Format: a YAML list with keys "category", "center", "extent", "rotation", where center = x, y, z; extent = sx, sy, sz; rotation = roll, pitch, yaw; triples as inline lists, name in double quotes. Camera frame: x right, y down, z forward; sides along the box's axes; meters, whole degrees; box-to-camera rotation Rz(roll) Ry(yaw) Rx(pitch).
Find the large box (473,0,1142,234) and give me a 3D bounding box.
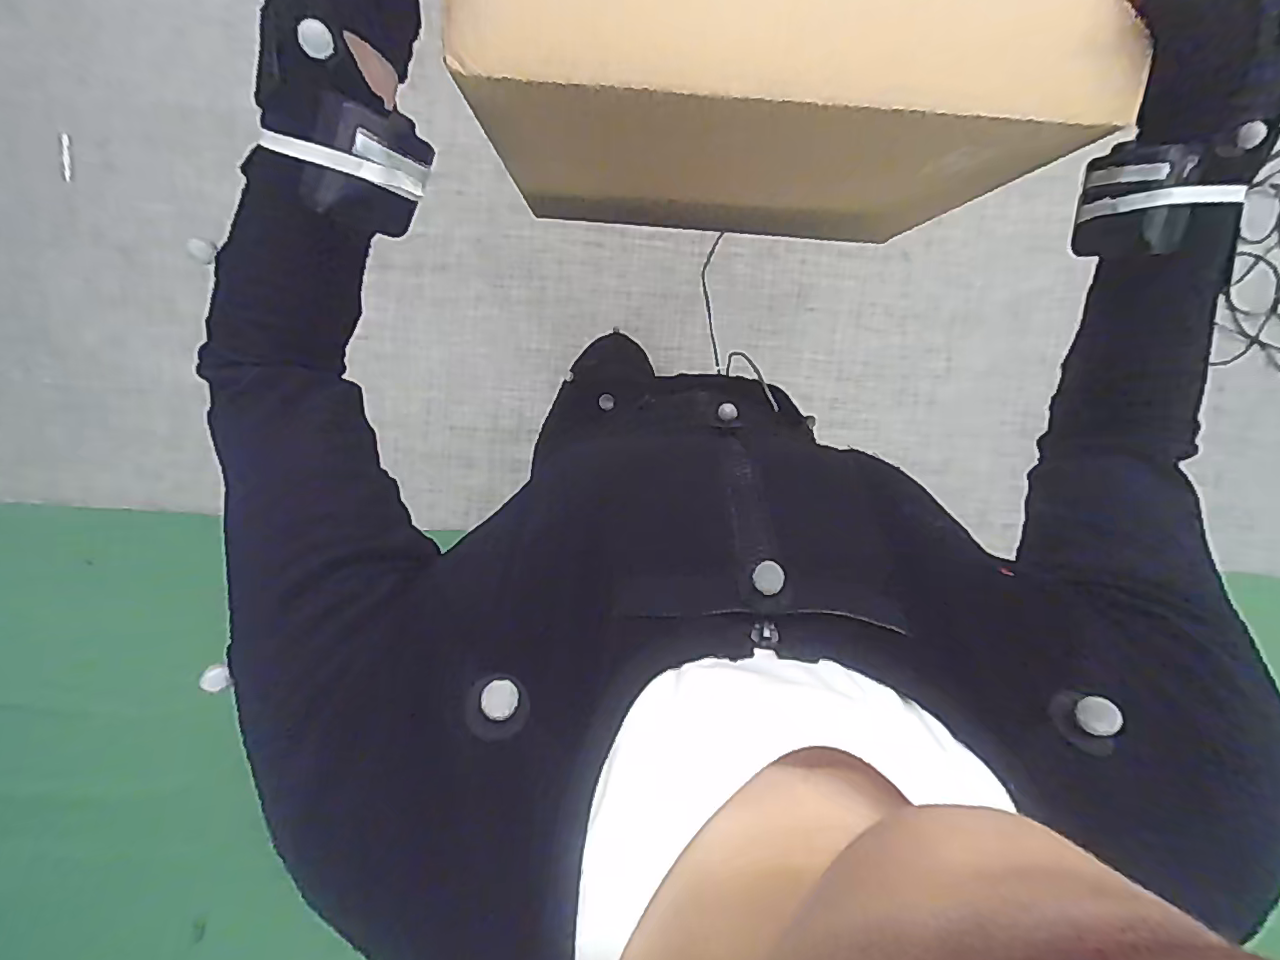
- category: "large box"
  center: [0.097, -0.409, 0.441]
  extent: [0.408, 0.320, 0.320]
  rotation: [2, 102, -4]
